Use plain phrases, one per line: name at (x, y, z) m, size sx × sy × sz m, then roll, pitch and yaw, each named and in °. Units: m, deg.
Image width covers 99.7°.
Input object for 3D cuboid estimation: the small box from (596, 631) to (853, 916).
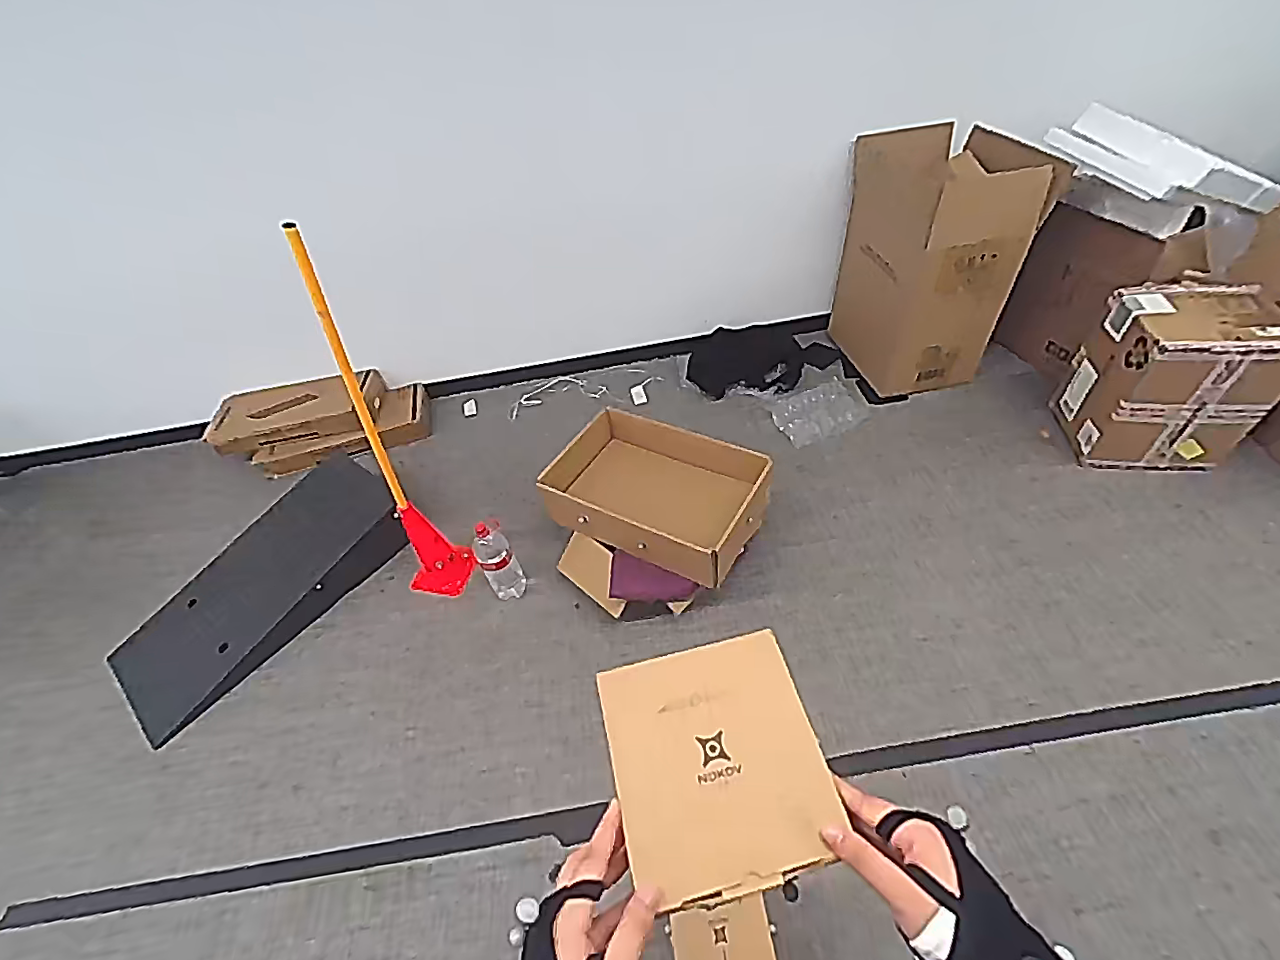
small box at (0.063, 0.269, 0.495) m, size 0.168 × 0.176 × 0.179 m, roll -12°, pitch 51°, yaw -6°
